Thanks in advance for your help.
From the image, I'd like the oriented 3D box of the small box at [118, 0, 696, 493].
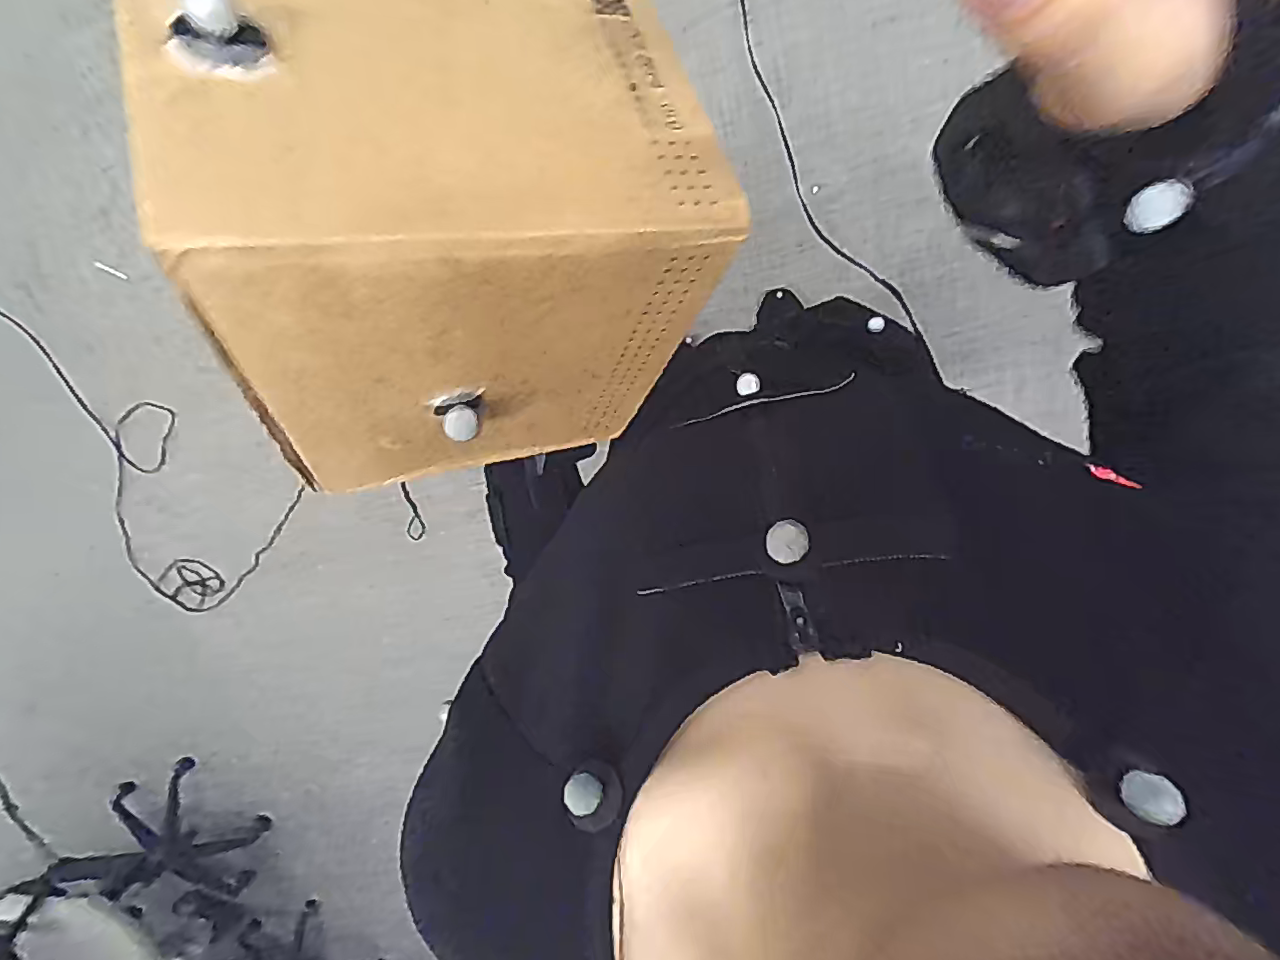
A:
[{"bbox_3d":[-0.092,-0.110,0.258,0.176,0.179,0.168,-14,75,-19],"label":"small box"}]
